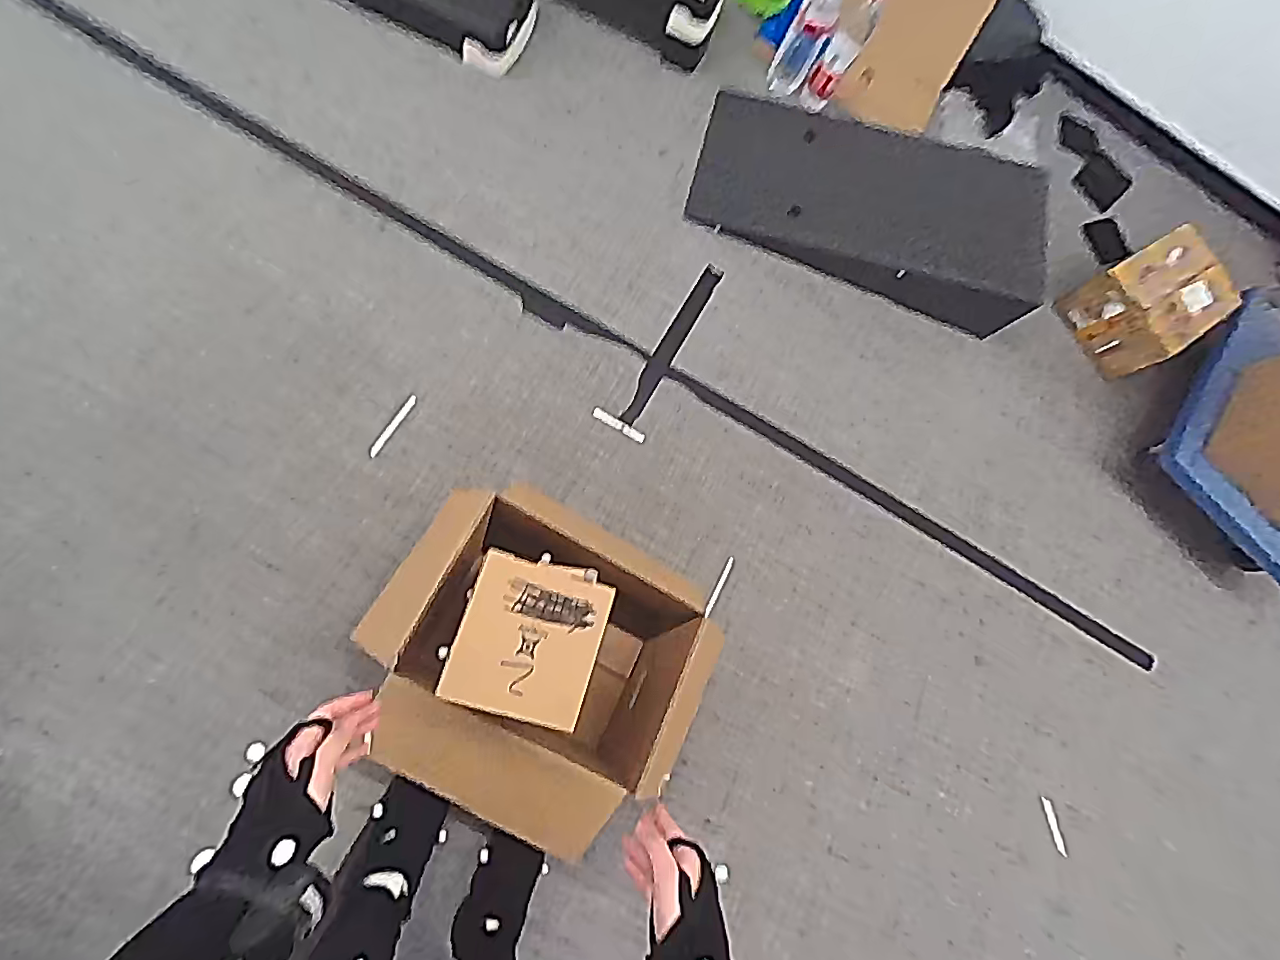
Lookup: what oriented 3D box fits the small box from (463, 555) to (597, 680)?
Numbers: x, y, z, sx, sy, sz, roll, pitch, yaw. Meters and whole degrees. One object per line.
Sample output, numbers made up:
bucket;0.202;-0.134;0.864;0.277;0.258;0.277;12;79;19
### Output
small box;-0.181;0.222;0.881;0.179;0.176;0.168;11;76;-15
